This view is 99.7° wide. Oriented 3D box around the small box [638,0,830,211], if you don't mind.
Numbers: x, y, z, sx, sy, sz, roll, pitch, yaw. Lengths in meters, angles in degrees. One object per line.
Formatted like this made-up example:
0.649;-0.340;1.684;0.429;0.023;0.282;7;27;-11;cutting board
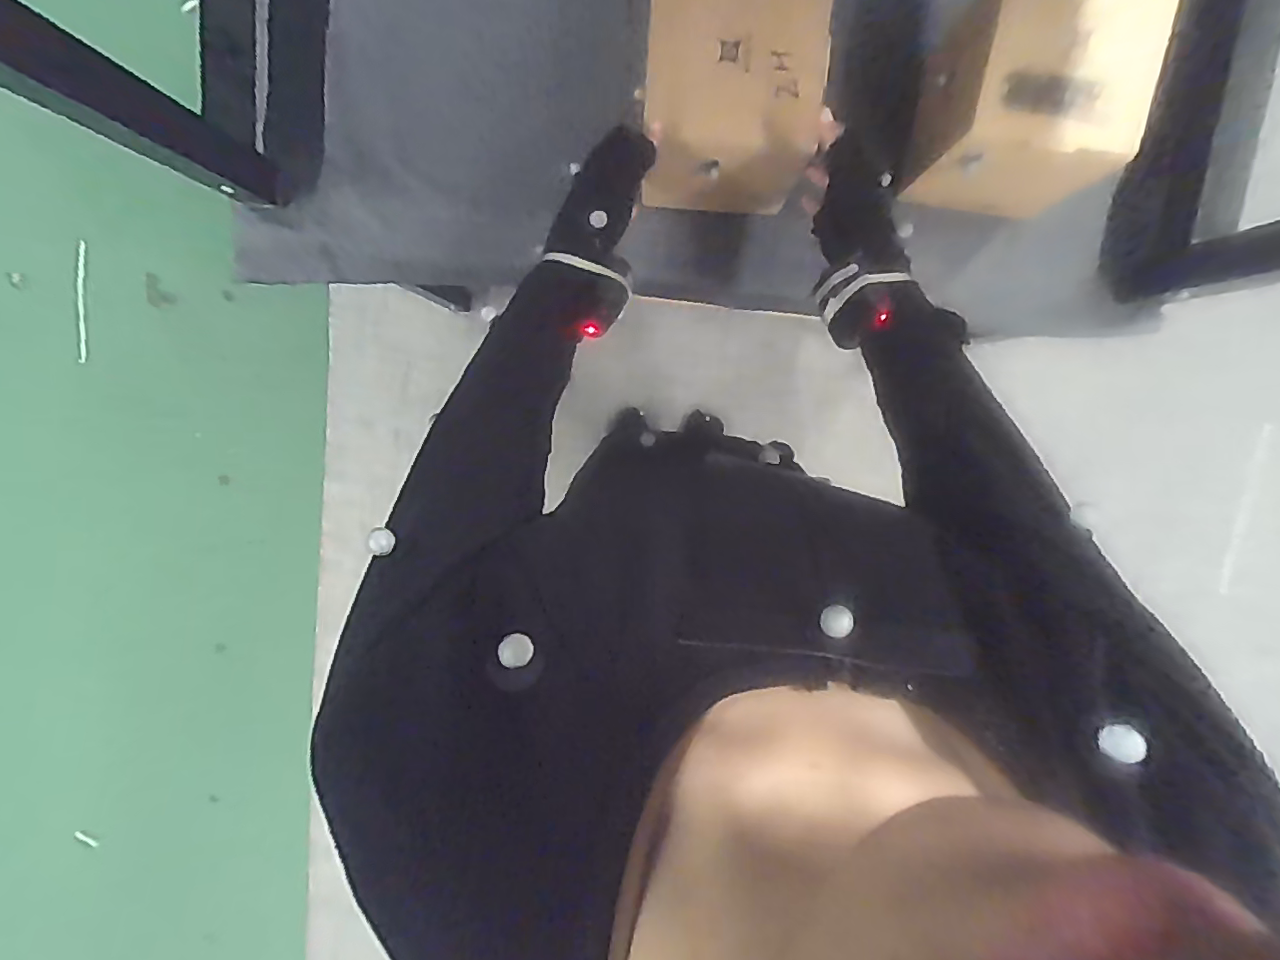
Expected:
0.092;-0.418;0.603;0.179;0.176;0.168;4;98;0;small box
